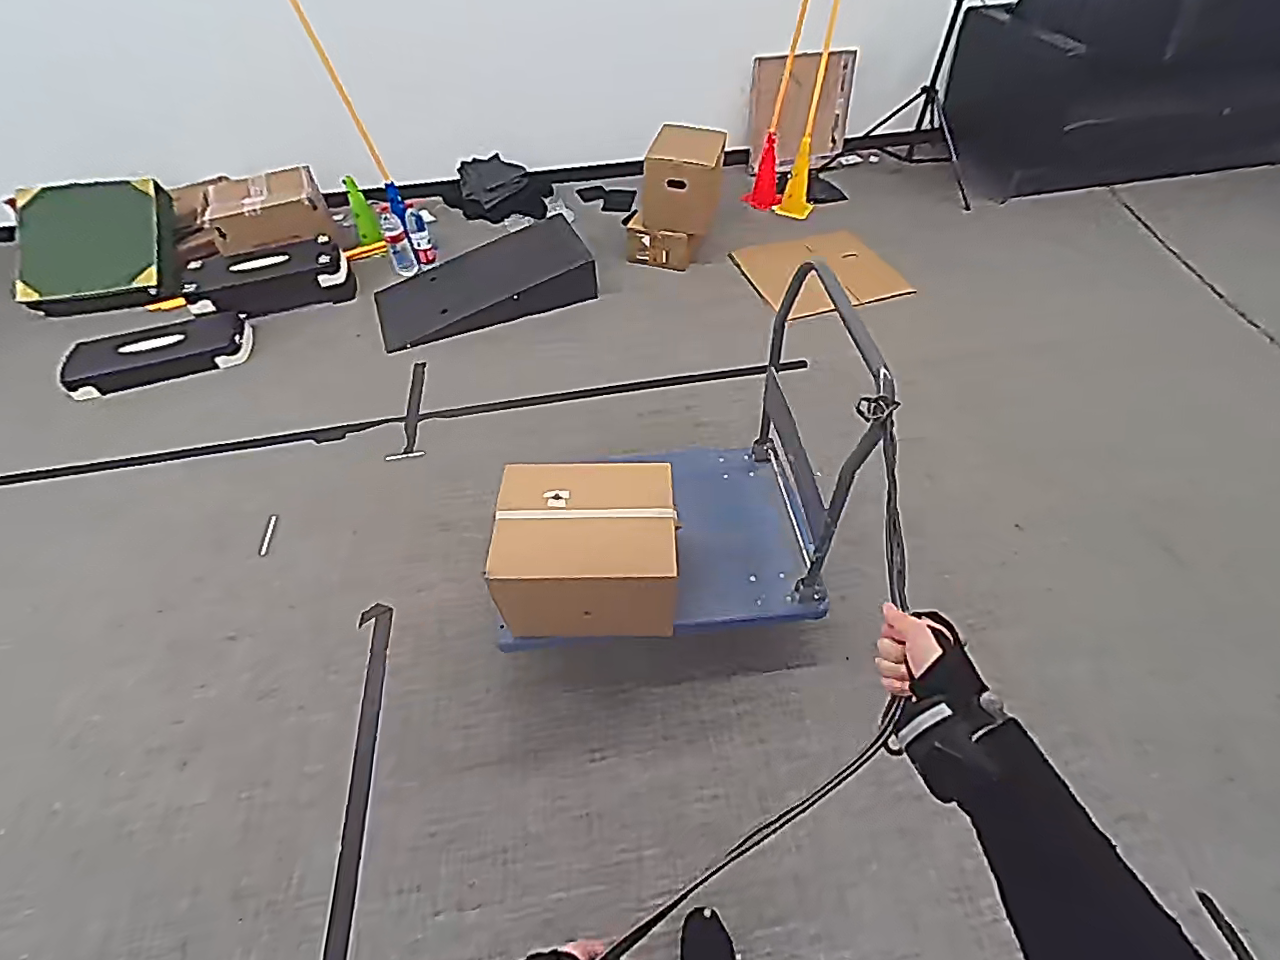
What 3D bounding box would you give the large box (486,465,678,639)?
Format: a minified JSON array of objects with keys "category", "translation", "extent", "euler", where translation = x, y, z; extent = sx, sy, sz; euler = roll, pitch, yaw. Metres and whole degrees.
[{"category":"large box","translation":[-0.119,0.183,1.322],"extent":[0.408,0.320,0.320],"euler":[-1,51,1]}]
